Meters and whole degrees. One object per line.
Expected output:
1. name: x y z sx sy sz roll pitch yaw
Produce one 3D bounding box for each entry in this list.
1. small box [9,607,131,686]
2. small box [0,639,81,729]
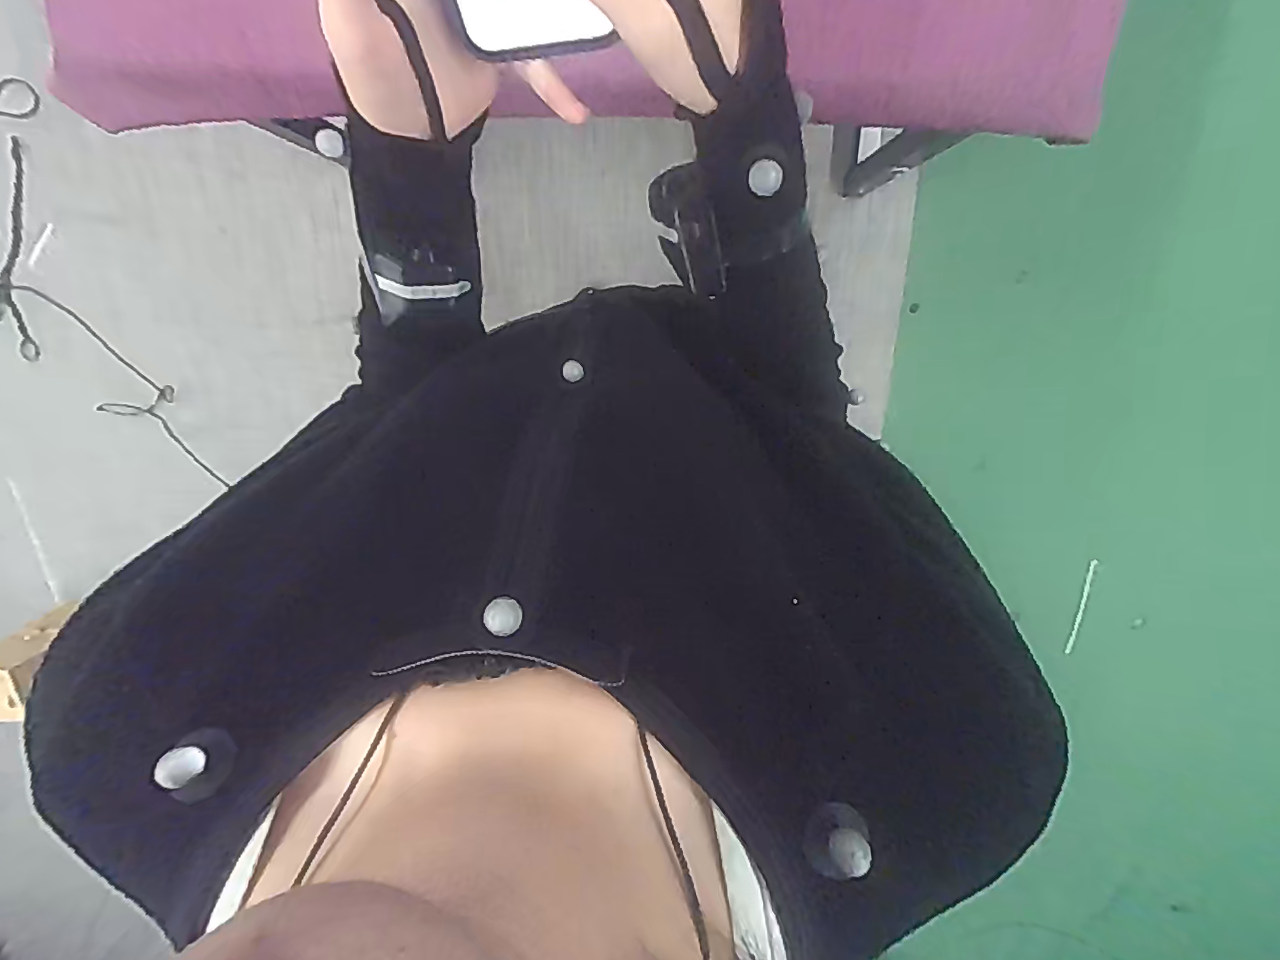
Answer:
1. small box: -1.715 0.499 1.640 0.168 0.176 0.179 0 108 2
2. small box: -1.719 0.554 1.485 0.179 0.176 0.168 2 108 2
